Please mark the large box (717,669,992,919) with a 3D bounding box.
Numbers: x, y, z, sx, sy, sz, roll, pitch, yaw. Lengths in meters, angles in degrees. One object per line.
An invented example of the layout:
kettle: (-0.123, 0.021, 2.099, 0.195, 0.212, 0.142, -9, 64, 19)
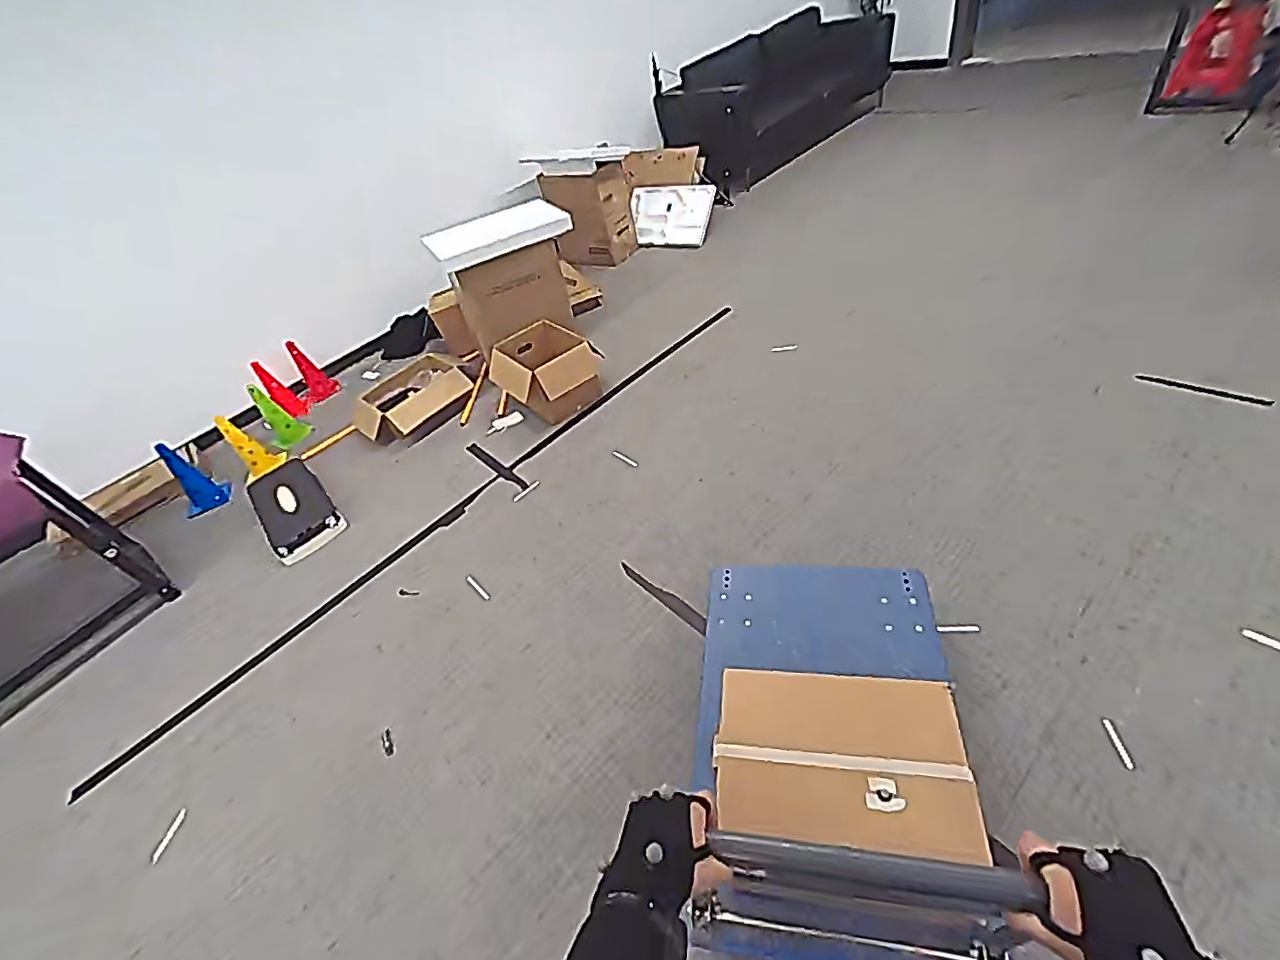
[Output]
large box: (0.362, 0.585, 1.023, 0.408, 0.320, 0.320, -1, 45, 14)
